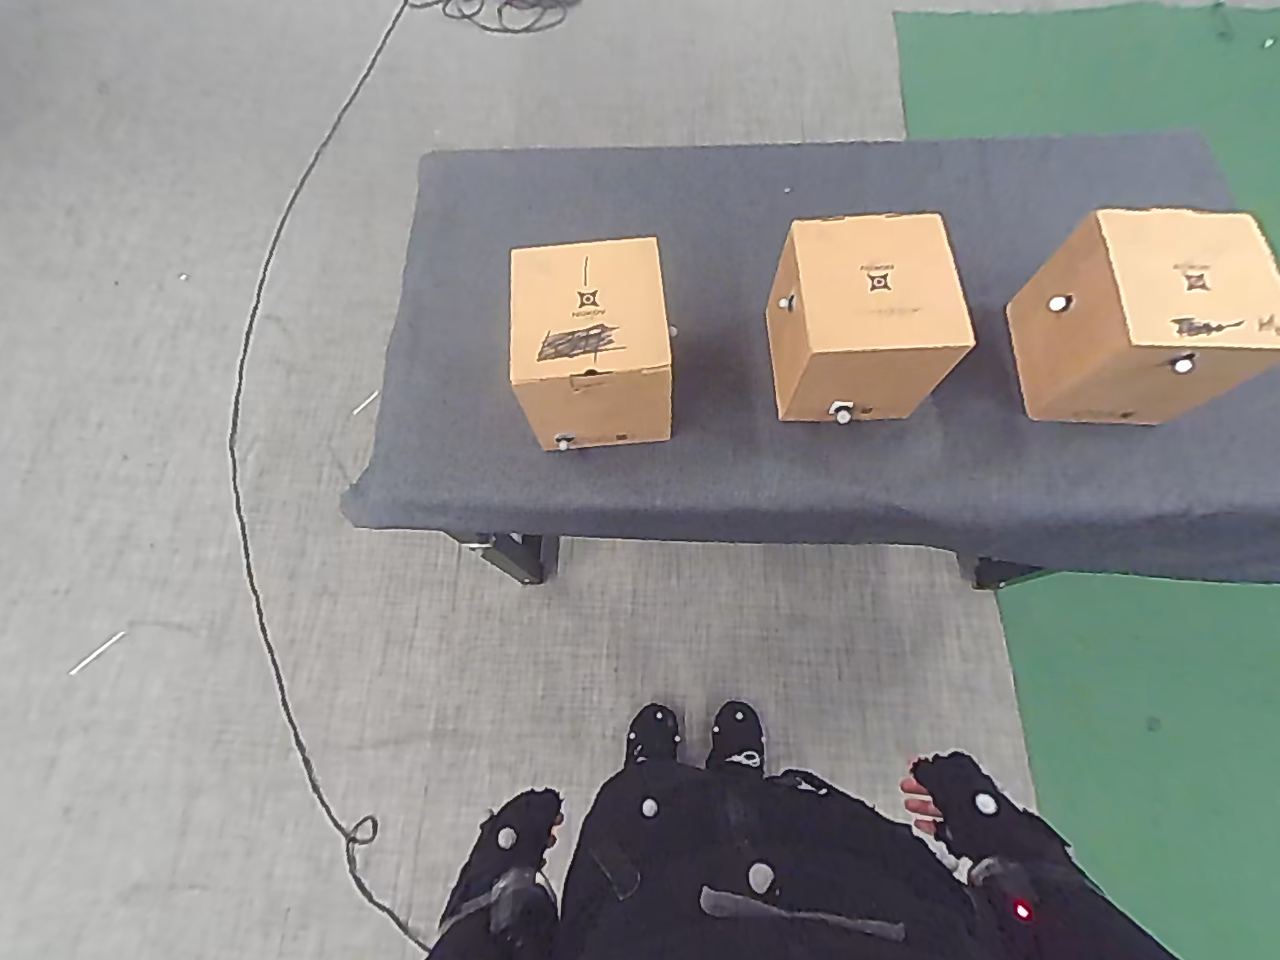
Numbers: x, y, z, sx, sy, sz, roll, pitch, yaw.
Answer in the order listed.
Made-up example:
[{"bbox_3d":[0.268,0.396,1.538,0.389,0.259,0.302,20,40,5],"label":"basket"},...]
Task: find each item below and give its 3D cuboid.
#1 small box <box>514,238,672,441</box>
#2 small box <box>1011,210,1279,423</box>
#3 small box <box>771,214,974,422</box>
[{"bbox_3d":[-0.050,-0.156,0.652,0.168,0.176,0.179,-5,68,0],"label":"small box"},{"bbox_3d":[0.575,-0.185,0.635,0.168,0.176,0.179,2,69,4],"label":"small box"},{"bbox_3d":[0.259,-0.186,0.653,0.168,0.176,0.179,-3,71,3],"label":"small box"}]
